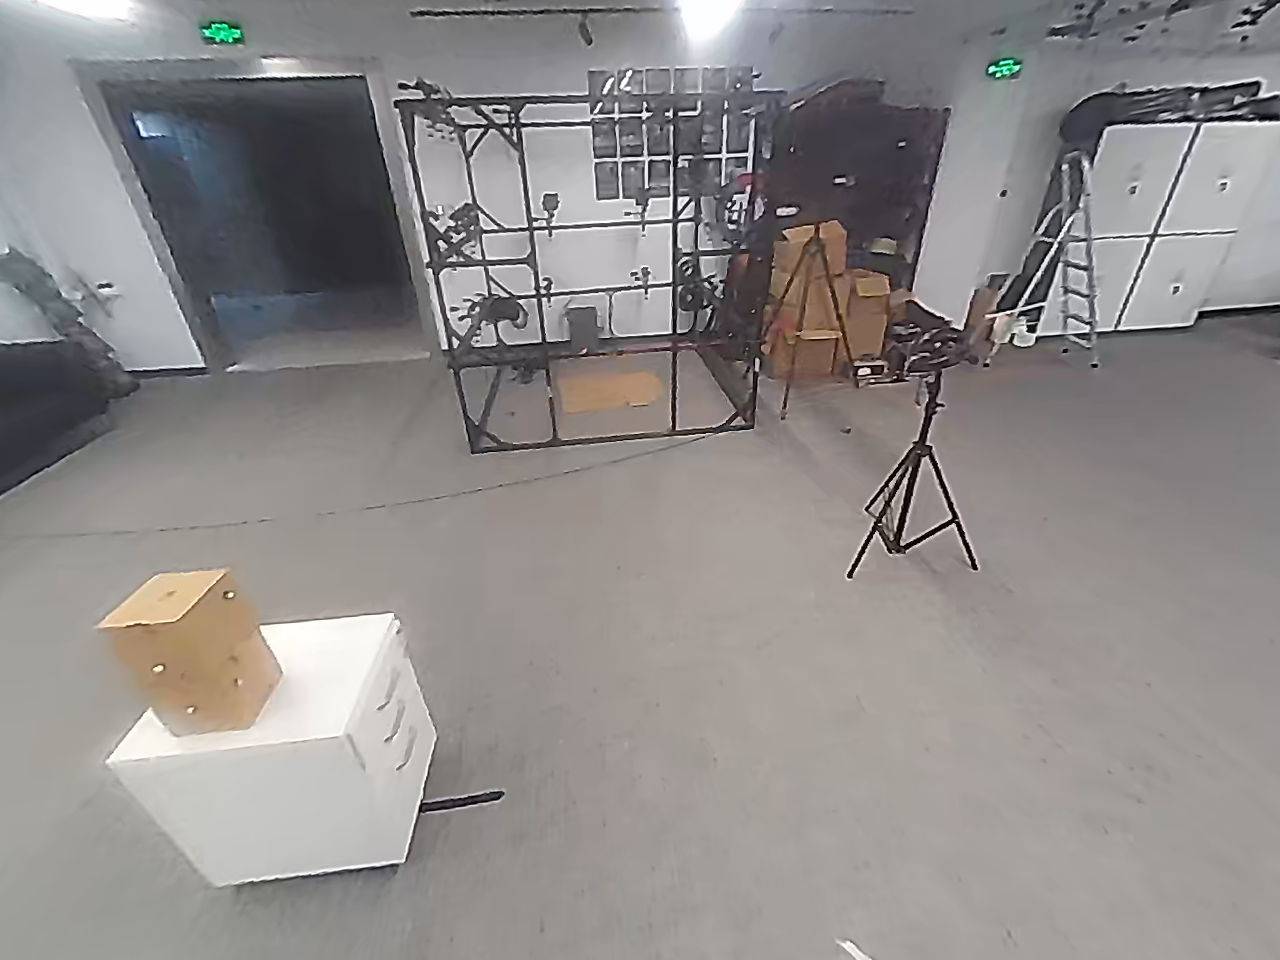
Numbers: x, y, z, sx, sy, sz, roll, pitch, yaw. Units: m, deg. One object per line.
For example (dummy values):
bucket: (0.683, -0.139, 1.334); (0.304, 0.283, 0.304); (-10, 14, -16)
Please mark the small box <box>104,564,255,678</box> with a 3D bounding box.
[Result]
small box: (-0.996, 0.309, 1.194); (0.168, 0.176, 0.179); (-4, 29, -1)
